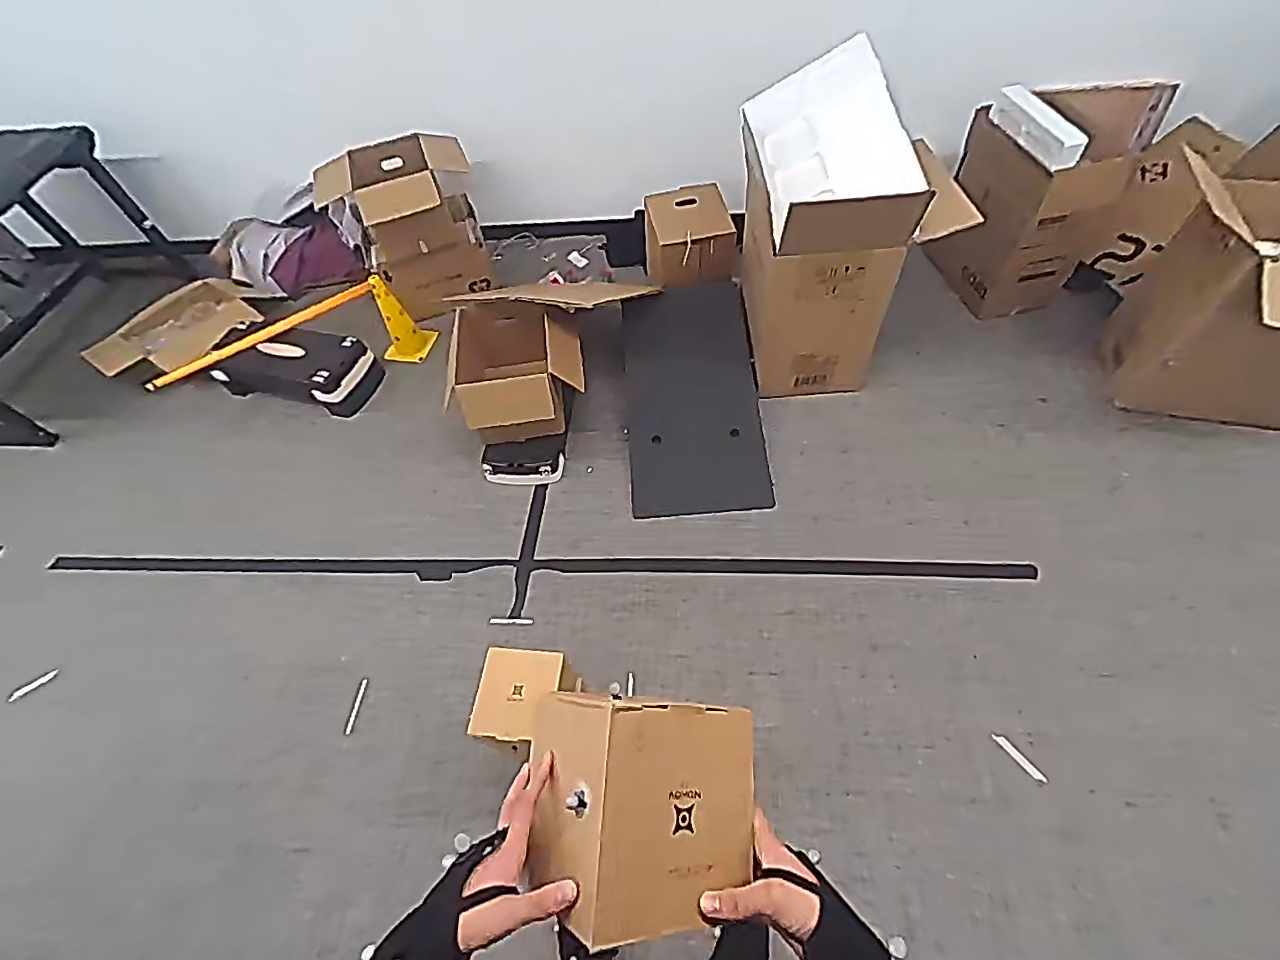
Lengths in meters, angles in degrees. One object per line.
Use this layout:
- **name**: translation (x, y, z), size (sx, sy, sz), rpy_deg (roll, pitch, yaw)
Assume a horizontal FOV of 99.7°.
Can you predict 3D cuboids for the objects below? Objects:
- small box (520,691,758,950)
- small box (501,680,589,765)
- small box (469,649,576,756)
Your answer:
- **small box**: translation (-0.004, 0.307, 0.529), size (0.168, 0.176, 0.179), rpy_deg (17, 67, -29)
- **small box**: translation (-0.215, 0.575, 1.276), size (0.179, 0.176, 0.168), rpy_deg (1, 55, 5)
- **small box**: translation (-0.237, 0.476, 1.148), size (0.168, 0.176, 0.179), rpy_deg (3, 56, 6)
